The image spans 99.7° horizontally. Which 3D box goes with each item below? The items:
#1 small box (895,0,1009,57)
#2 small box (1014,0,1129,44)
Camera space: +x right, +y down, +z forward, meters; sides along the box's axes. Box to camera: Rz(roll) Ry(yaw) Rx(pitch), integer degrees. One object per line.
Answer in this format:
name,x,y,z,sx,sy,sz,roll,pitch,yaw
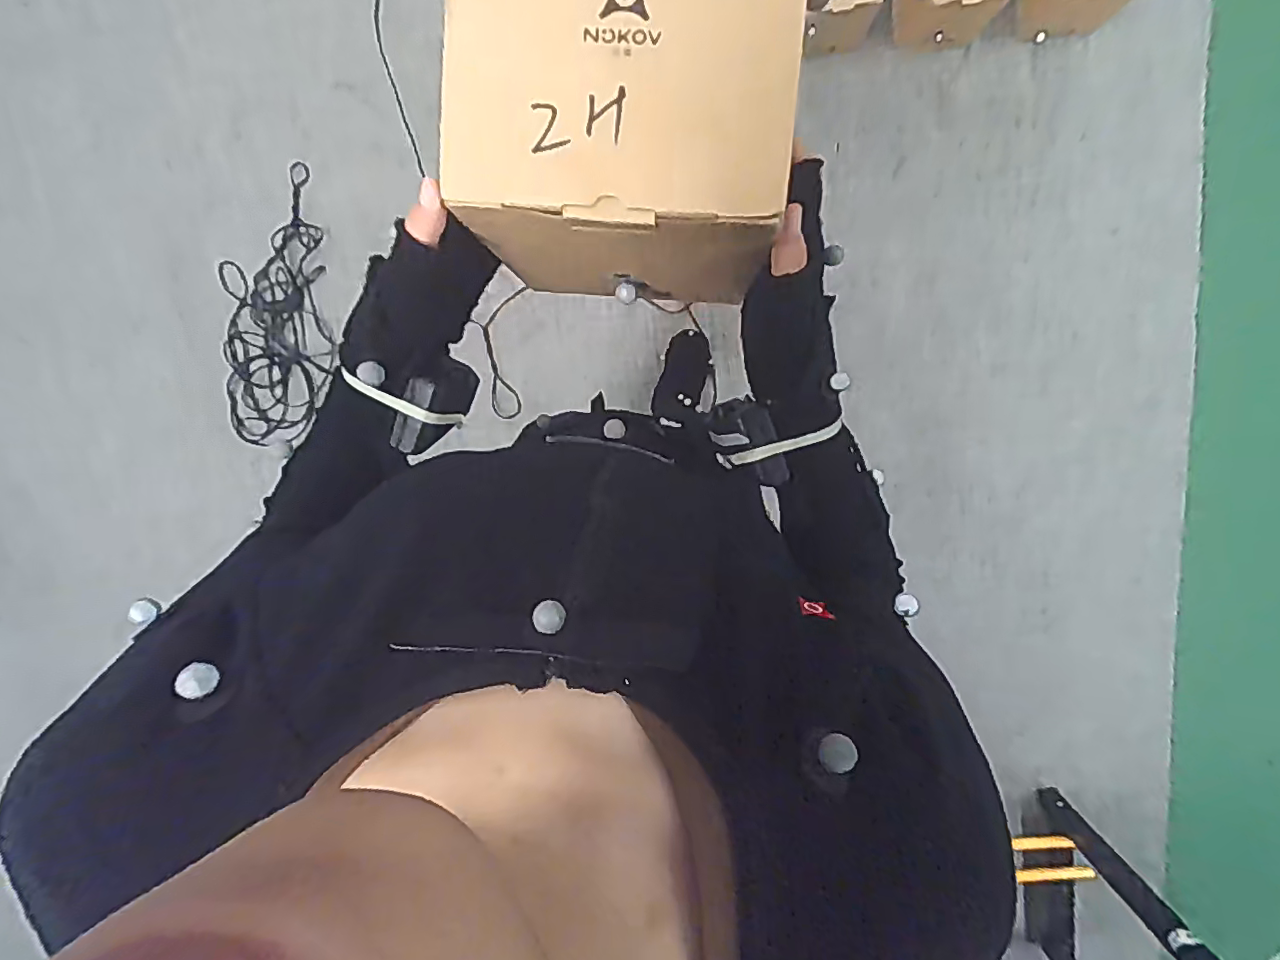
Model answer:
small box,0.668,-1.065,1.169,0.168,0.176,0.179,-4,101,2
small box,0.937,-1.076,1.157,0.168,0.176,0.179,-5,100,3
